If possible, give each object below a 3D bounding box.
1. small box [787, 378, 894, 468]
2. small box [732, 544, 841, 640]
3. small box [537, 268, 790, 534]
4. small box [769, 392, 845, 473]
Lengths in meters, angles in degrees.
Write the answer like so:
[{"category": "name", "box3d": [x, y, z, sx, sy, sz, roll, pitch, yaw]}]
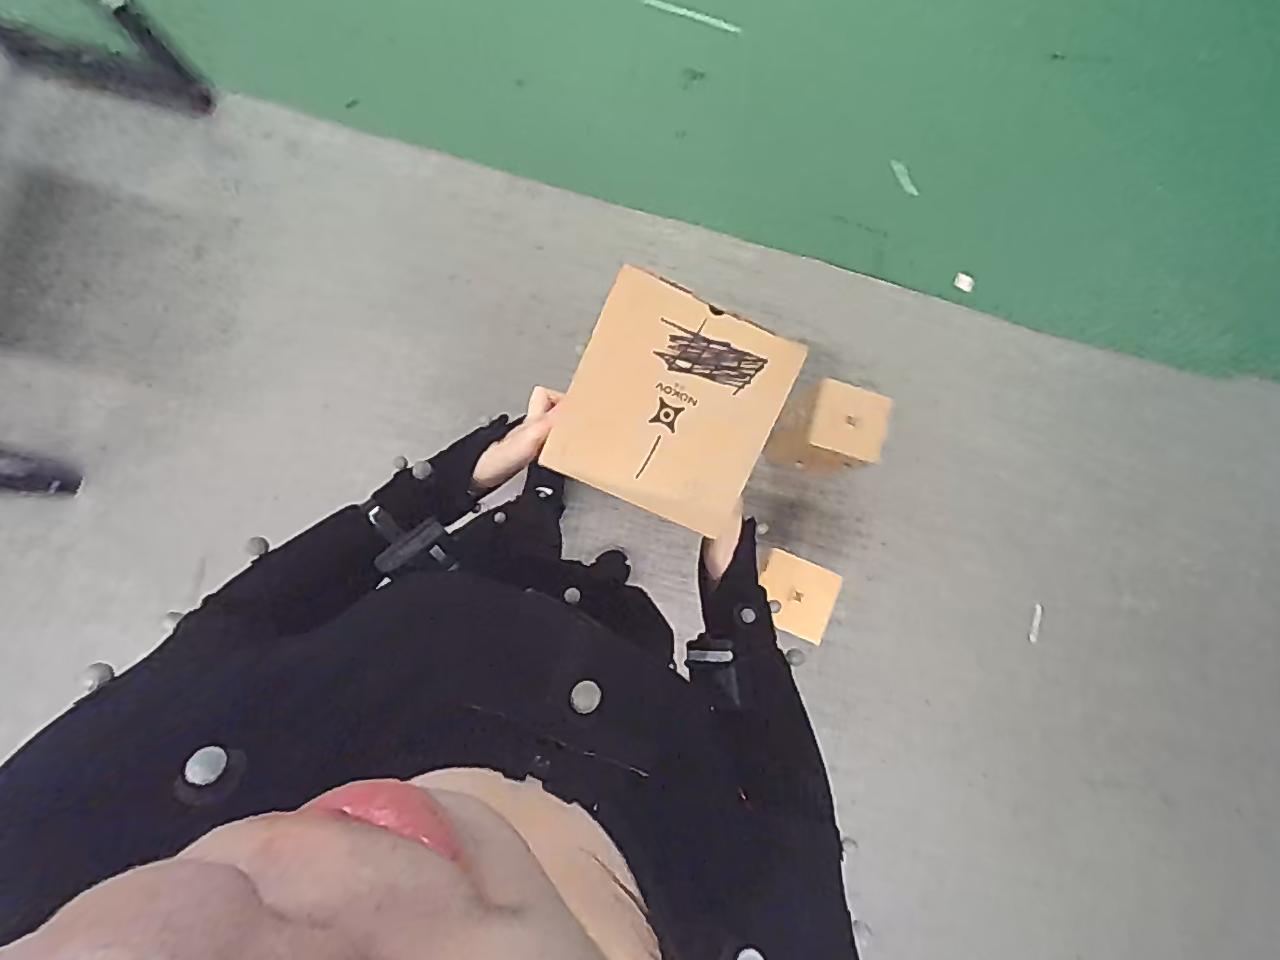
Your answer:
[{"category": "small box", "box3d": [0.489, -0.132, 1.339, 0.179, 0.176, 0.168, 16, 84, -2]}, {"category": "small box", "box3d": [0.345, 0.260, 1.304, 0.179, 0.176, 0.168, 23, 85, -1]}, {"category": "small box", "box3d": [0.015, -0.073, 0.530, 0.168, 0.176, 0.179, 23, 97, -5]}, {"category": "small box", "box3d": [0.480, -0.124, 1.502, 0.179, 0.176, 0.168, 20, 85, -2]}]
